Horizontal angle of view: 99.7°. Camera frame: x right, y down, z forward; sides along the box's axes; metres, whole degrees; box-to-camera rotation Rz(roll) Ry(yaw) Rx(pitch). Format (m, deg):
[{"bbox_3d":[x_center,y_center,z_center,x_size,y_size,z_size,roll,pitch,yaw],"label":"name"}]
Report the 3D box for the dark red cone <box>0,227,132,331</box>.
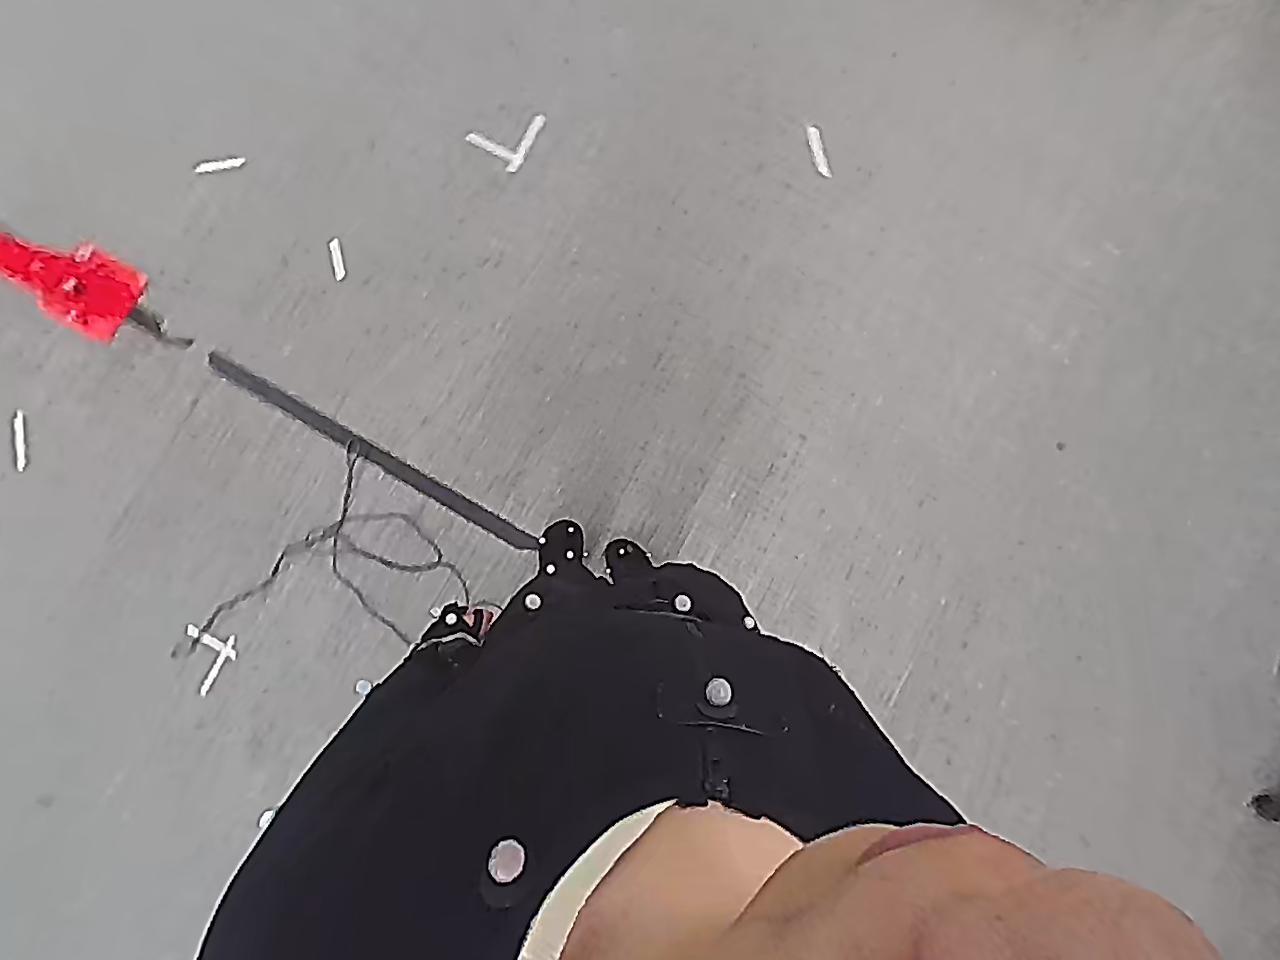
[{"bbox_3d":[-1.377,-0.496,1.176,0.202,0.394,0.201,29,87,-1],"label":"dark red cone"}]
